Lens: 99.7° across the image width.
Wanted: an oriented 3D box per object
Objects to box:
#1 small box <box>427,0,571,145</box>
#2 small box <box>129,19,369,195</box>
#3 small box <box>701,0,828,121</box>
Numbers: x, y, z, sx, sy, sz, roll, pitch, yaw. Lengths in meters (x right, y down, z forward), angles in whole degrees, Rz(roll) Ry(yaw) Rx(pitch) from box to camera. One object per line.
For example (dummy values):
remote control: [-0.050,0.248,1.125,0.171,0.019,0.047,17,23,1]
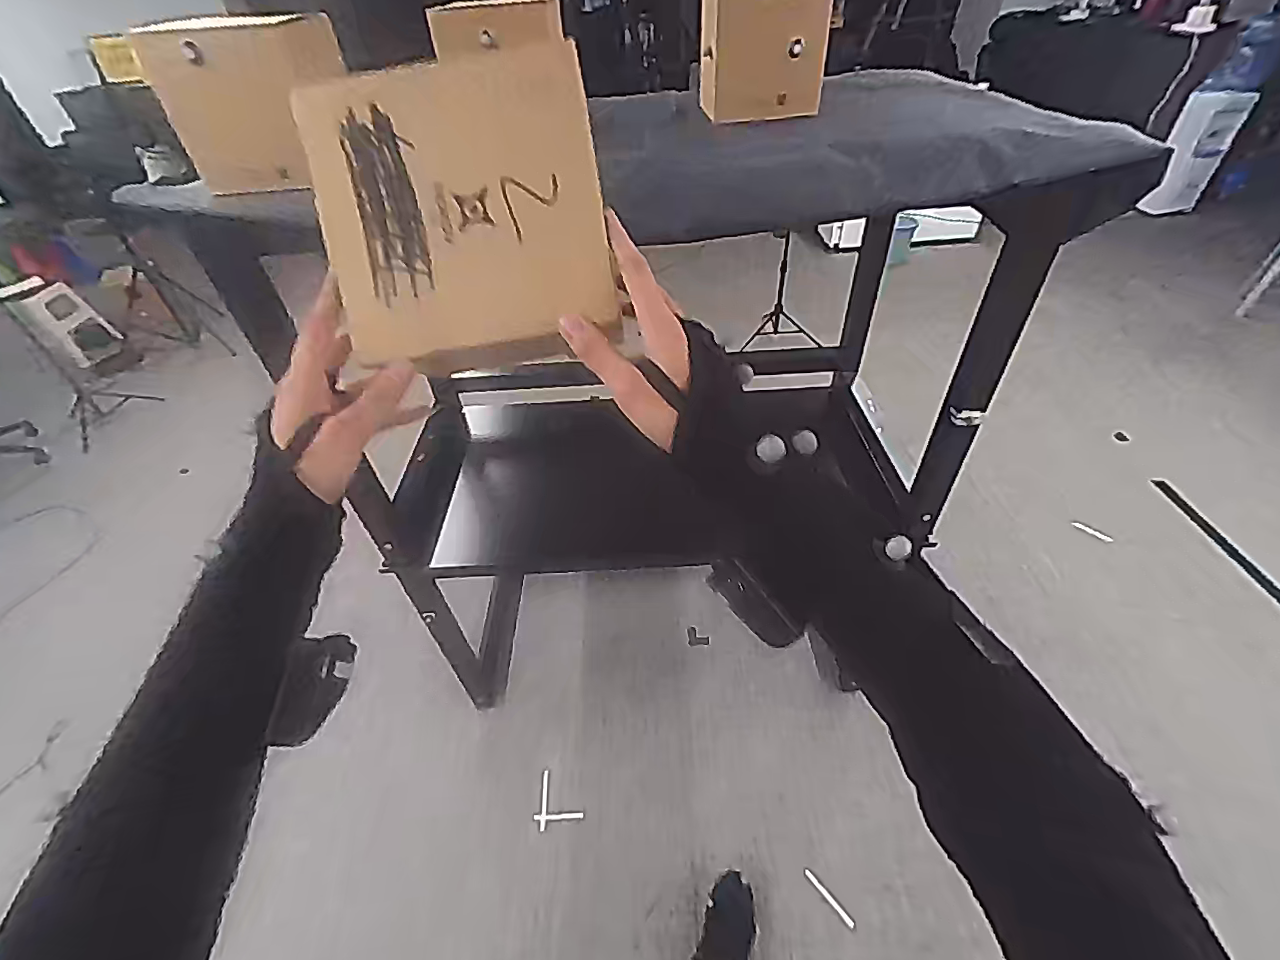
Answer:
small box: [-0.212,-0.661,0.875,0.179,0.176,0.168,-3,44,3]
small box: [-0.484,-0.488,0.709,0.168,0.176,0.179,-5,43,-1]
small box: [0.188,-0.684,0.861,0.168,0.176,0.179,-4,44,0]
